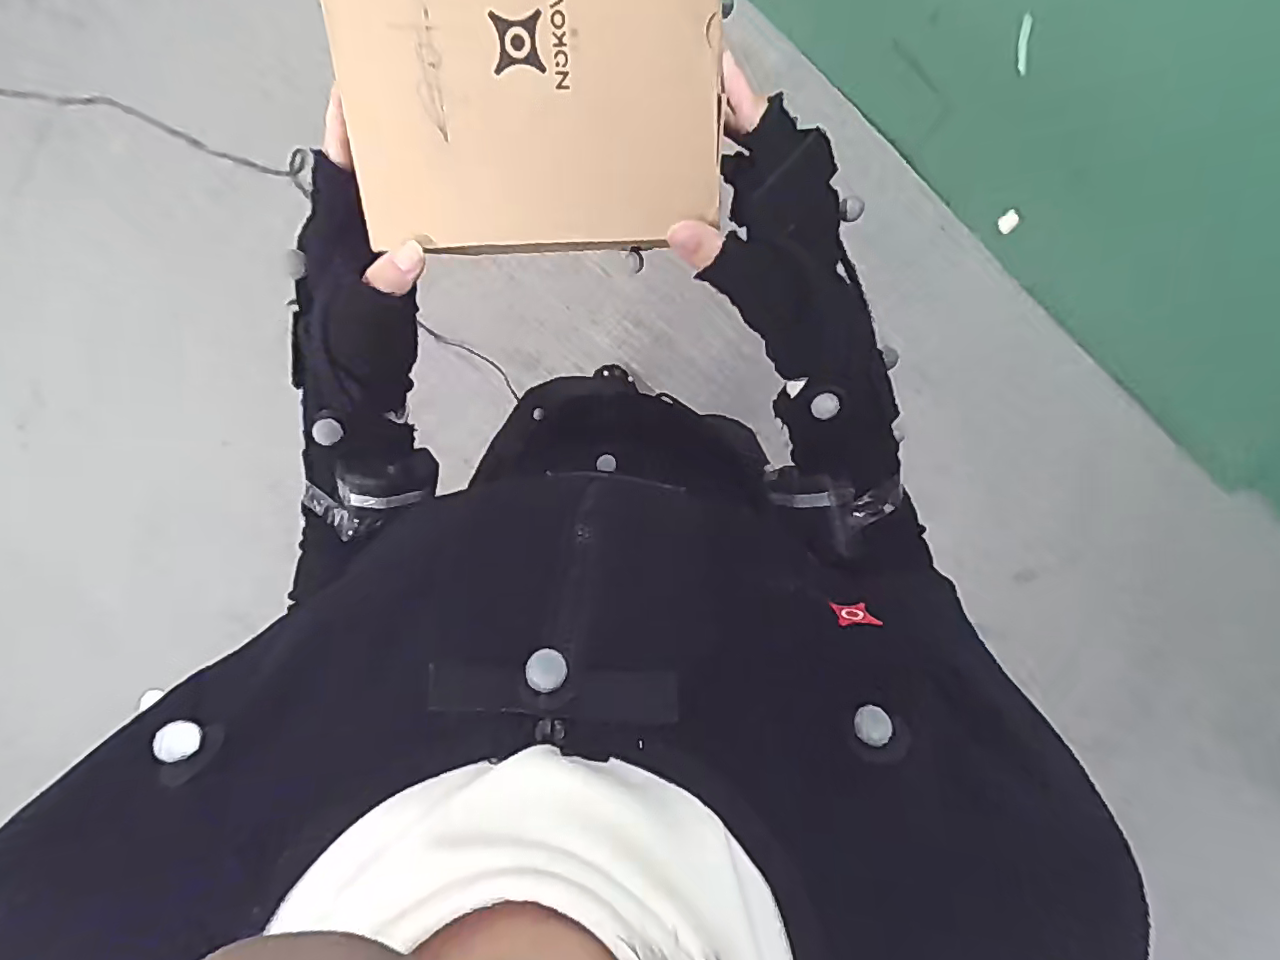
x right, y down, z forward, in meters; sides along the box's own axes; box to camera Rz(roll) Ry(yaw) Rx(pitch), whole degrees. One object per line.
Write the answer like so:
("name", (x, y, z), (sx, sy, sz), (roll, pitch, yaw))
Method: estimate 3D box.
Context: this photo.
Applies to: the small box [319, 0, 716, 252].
("small box", (-0.054, -0.230, 0.317), (0.179, 0.176, 0.168), (-4, 111, 2))
